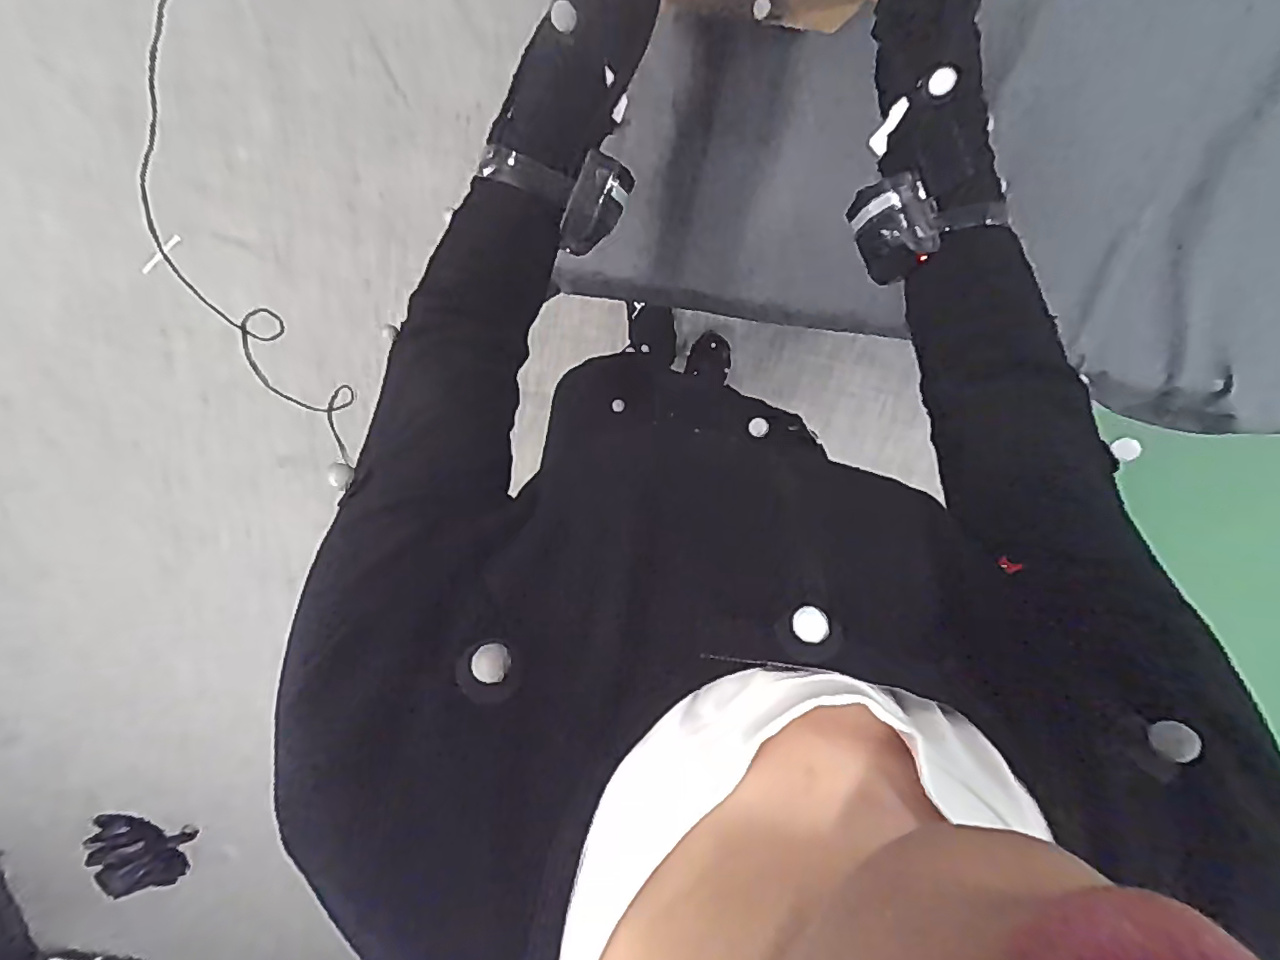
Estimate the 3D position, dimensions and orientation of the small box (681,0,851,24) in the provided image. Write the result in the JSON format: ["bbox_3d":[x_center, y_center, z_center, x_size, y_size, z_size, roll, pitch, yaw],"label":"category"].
[{"bbox_3d":[0.107,-0.468,0.395,0.168,0.176,0.179,5,117,-1],"label":"small box"}]
